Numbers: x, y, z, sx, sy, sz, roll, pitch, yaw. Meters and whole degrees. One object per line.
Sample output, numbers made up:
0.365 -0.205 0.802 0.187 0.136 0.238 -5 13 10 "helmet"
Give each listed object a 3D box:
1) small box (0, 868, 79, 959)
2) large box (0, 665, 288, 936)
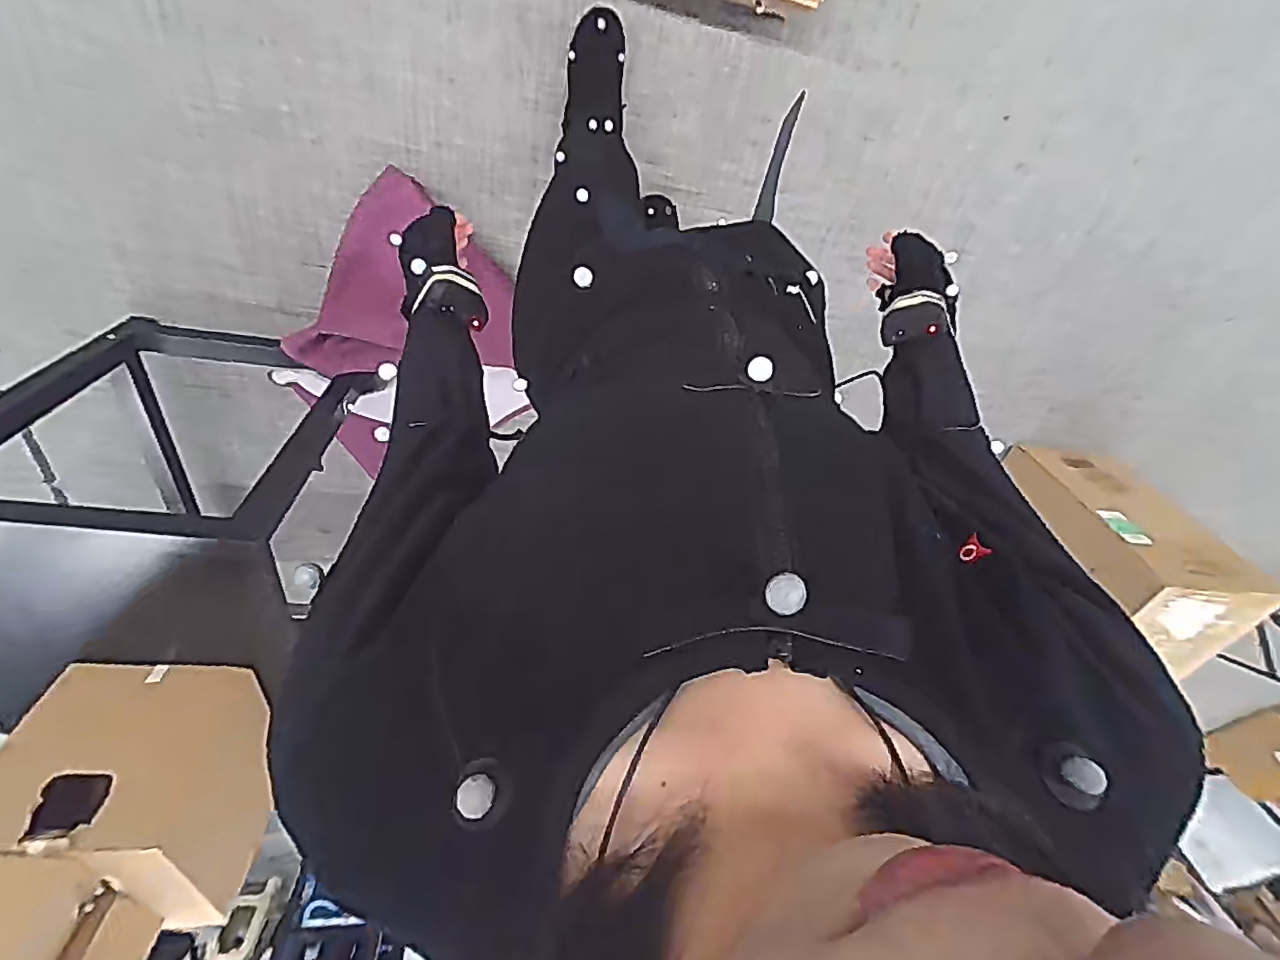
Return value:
-0.940 0.655 0.748 0.179 0.176 0.168 16 125 -16 "small box"
-0.932 0.600 1.016 0.320 0.320 0.408 4 126 -10 "large box"
